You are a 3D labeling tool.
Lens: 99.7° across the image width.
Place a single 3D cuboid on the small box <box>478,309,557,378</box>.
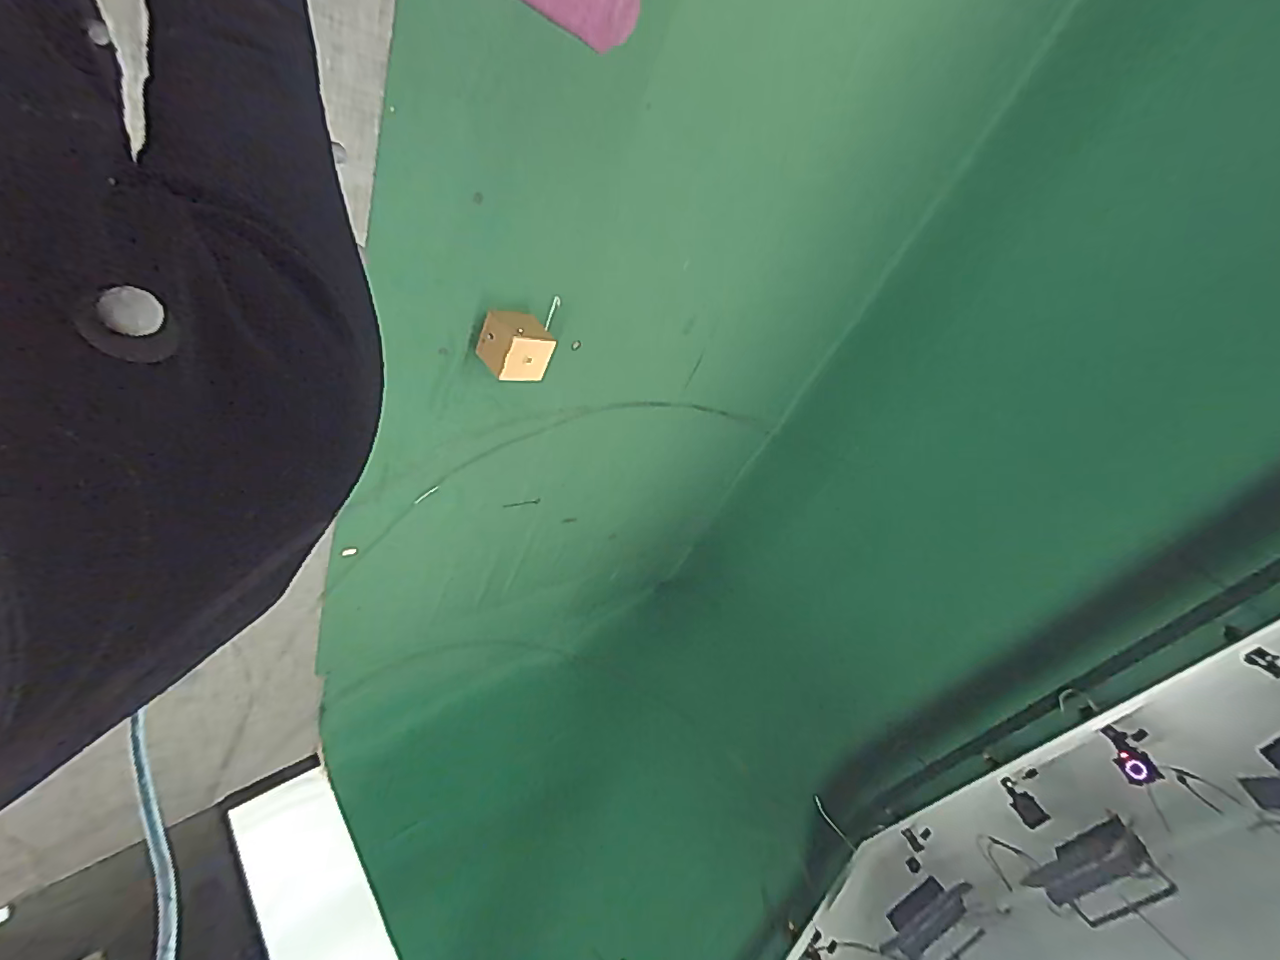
[{"bbox_3d":[-0.421,-0.466,1.848,0.179,0.176,0.168,-10,141,-46],"label":"small box"}]
